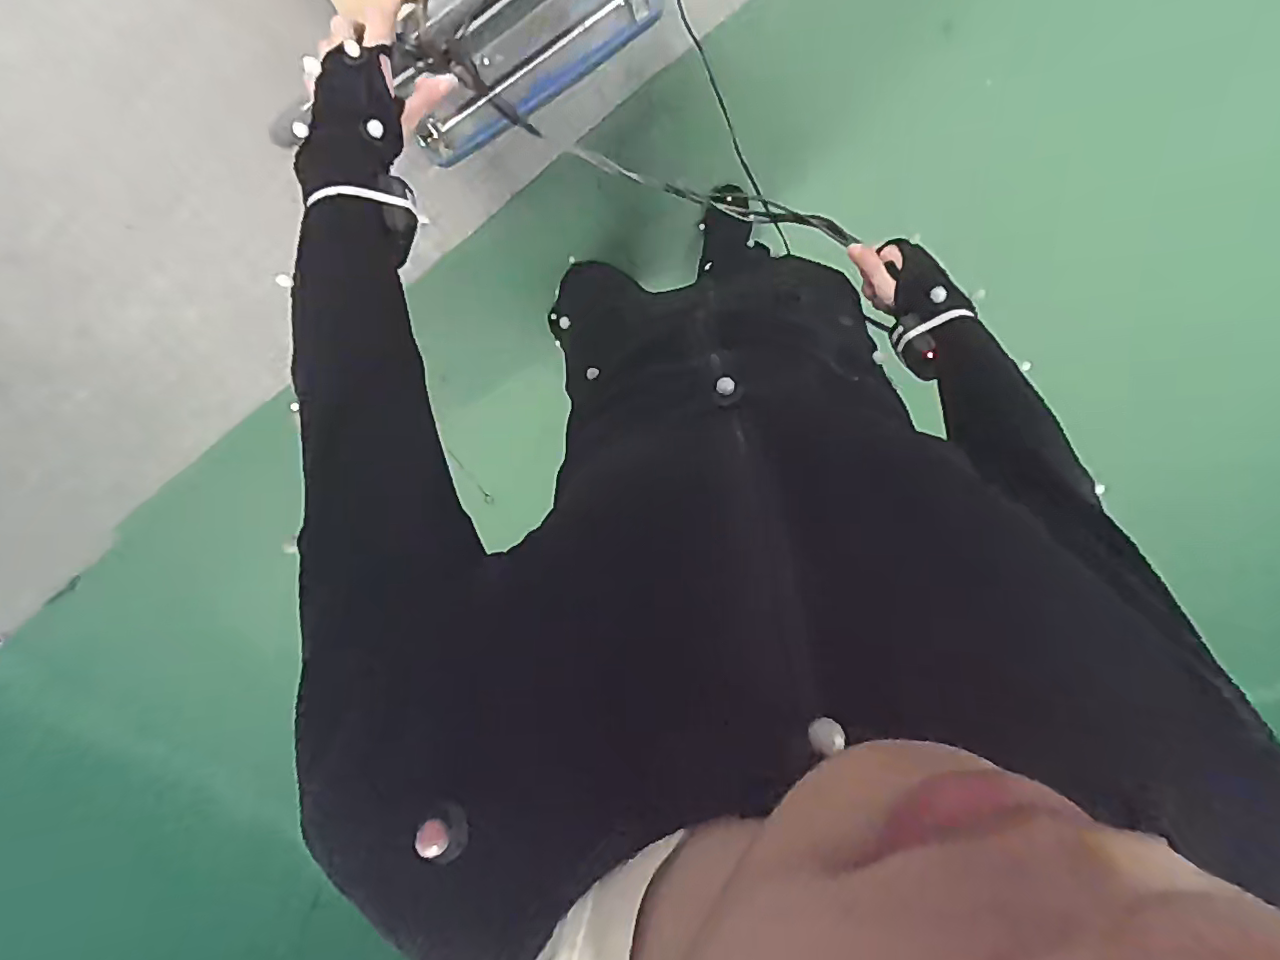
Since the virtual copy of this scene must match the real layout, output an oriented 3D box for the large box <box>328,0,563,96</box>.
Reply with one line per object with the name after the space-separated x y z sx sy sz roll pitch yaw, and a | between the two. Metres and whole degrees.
-0.374 -0.932 0.871 0.320 0.320 0.408 -24 116 13 | large box
